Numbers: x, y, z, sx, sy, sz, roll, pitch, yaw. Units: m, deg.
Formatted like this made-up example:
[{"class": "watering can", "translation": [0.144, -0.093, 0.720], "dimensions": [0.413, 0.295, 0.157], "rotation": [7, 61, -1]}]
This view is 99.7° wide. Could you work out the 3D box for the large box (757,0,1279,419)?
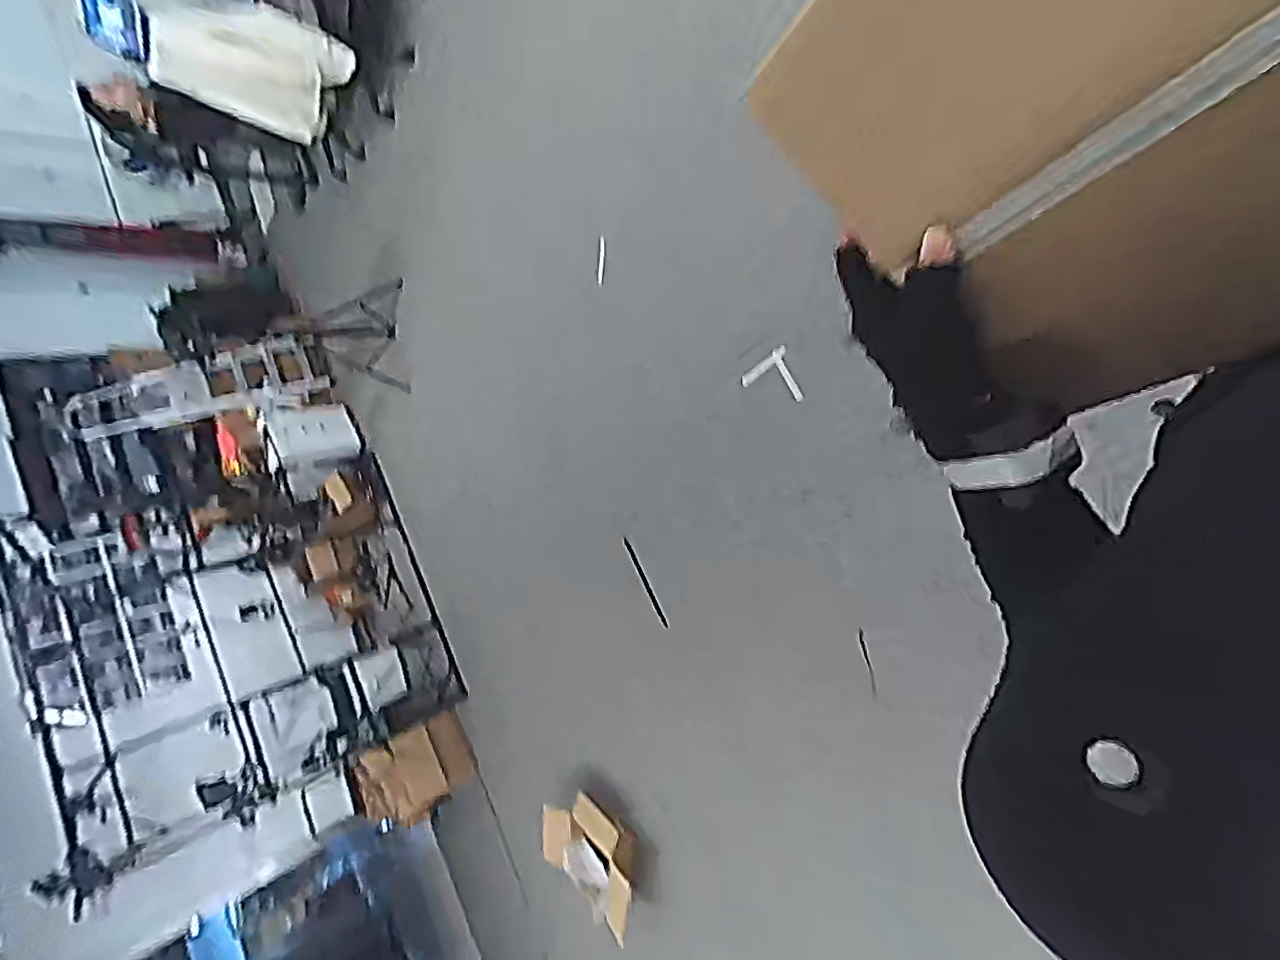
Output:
[{"class": "large box", "translation": [0.343, -0.309, 0.306], "dimensions": [0.320, 0.320, 0.408], "rotation": [38, 145, -15]}]
